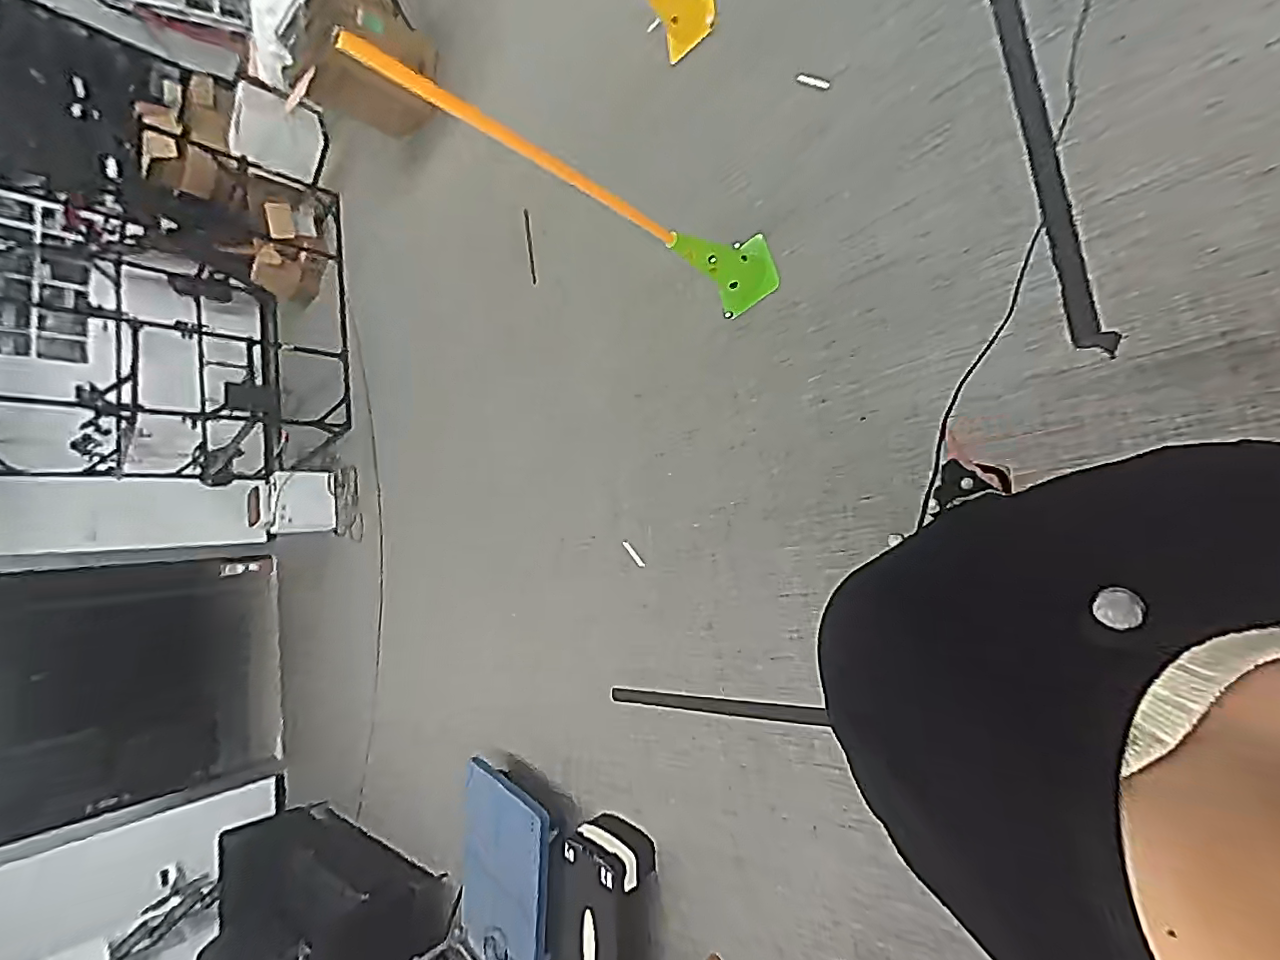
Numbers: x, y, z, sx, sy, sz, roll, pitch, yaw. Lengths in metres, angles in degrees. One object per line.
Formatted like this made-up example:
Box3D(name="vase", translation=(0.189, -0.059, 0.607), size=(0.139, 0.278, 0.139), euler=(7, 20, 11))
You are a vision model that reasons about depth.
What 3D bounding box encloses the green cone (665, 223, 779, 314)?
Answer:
Box3D(name="green cone", translation=(0.209, -0.650, 1.555), size=(0.200, 0.368, 0.202), euler=(-28, 68, 40))
